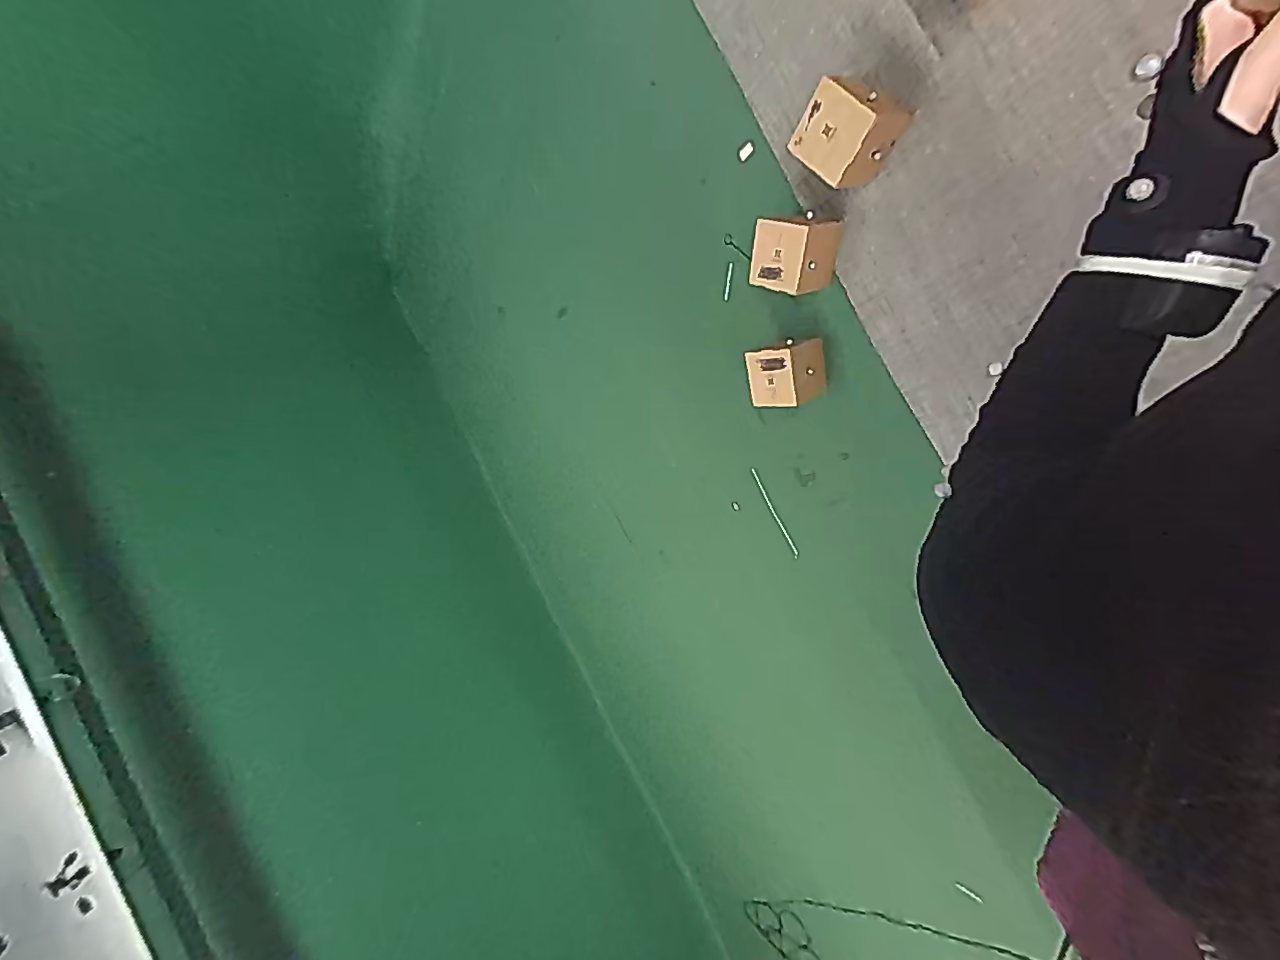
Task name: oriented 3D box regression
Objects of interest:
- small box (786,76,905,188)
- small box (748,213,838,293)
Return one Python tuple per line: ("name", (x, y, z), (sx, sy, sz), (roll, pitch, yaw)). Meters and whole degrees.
("small box", (0.501, -0.844, 1.312), (0.179, 0.176, 0.168), (52, 143, 17))
("small box", (0.432, -0.644, 1.525), (0.168, 0.176, 0.179), (33, 134, 37))
